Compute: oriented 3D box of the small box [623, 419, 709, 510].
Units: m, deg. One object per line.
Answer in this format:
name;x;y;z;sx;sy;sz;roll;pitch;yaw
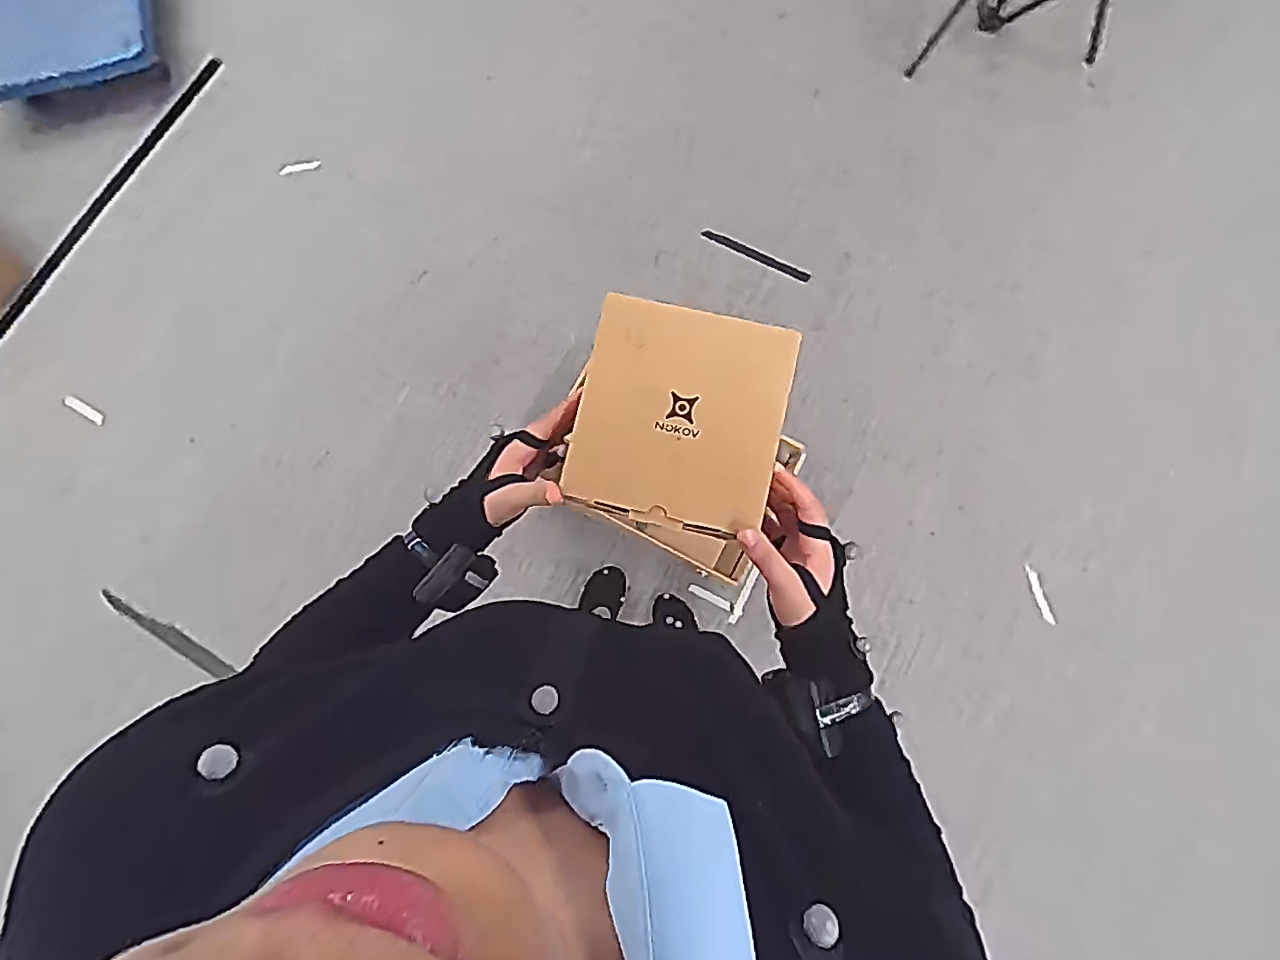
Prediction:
small box;0.069;-0.032;1.428;0.168;0.176;0.179;24;81;6
